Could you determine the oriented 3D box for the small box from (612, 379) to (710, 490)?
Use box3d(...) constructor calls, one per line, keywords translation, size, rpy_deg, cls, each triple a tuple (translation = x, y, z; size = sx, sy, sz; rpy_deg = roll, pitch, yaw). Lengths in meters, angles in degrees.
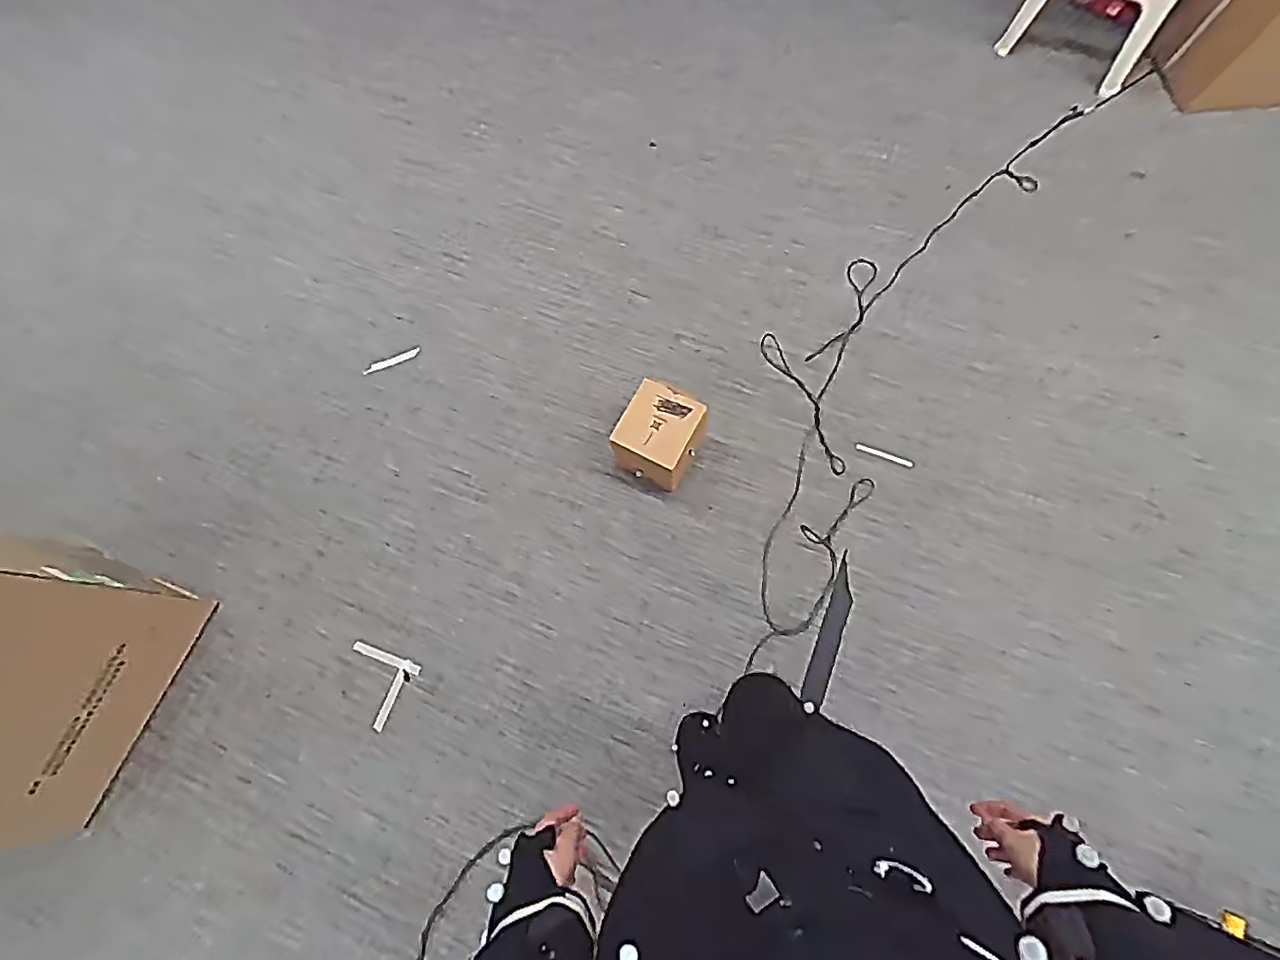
box3d(translation=(0.052, -0.103, 1.290), size=(0.168, 0.176, 0.179), rpy_deg=(27, 76, 13), cls="small box")
